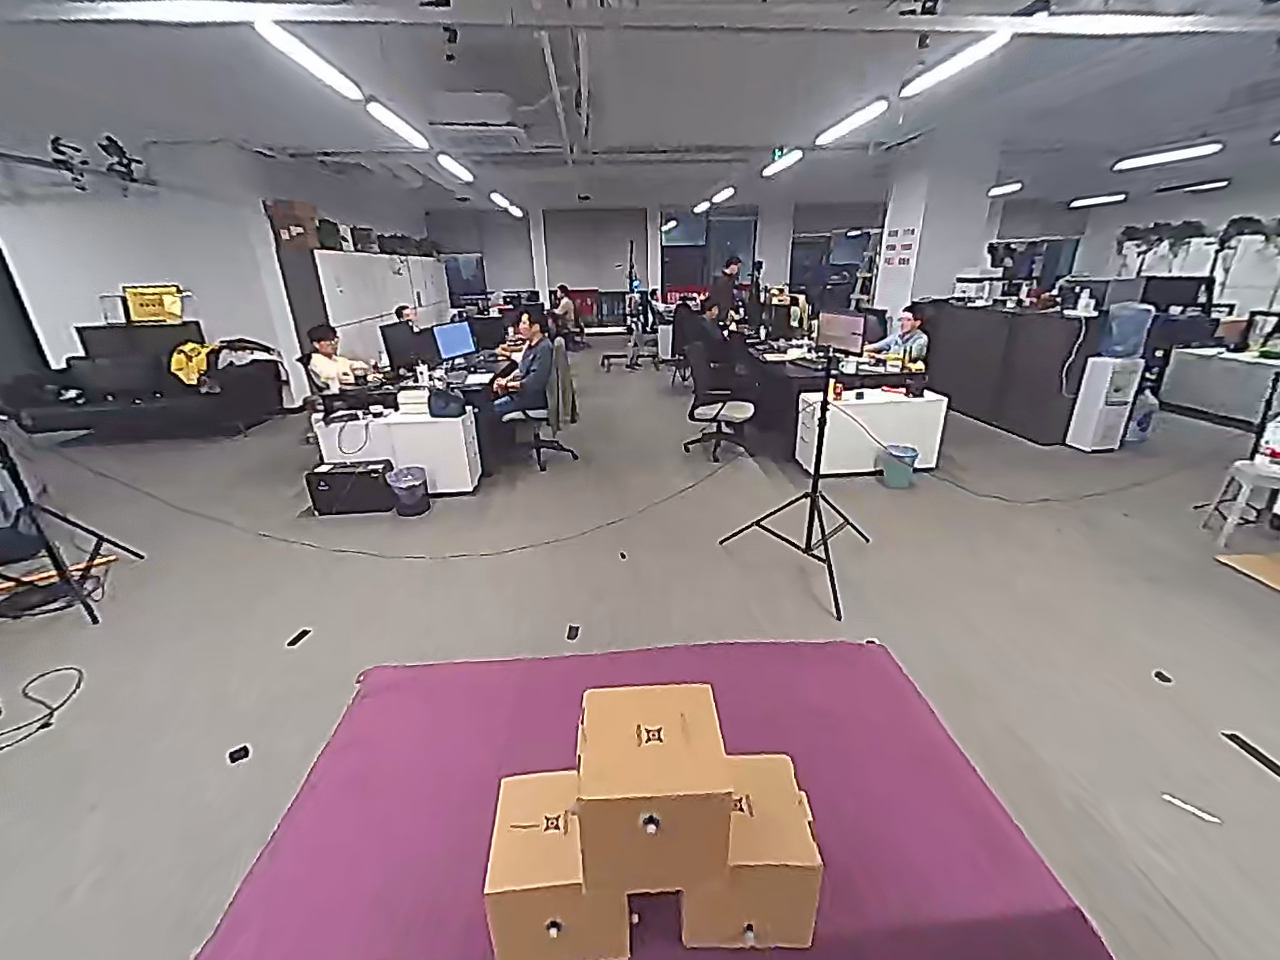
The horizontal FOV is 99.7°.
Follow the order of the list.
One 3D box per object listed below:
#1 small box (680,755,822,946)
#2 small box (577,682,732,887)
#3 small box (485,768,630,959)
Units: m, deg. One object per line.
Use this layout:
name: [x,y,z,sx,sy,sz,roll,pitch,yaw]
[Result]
small box: [0.145,0.527,0.777,0.179,0.176,0.168,-2,21,1]
small box: [0.016,0.386,0.695,0.179,0.176,0.168,-1,22,-2]
small box: [-0.105,0.538,0.760,0.179,0.176,0.168,-4,20,-4]
